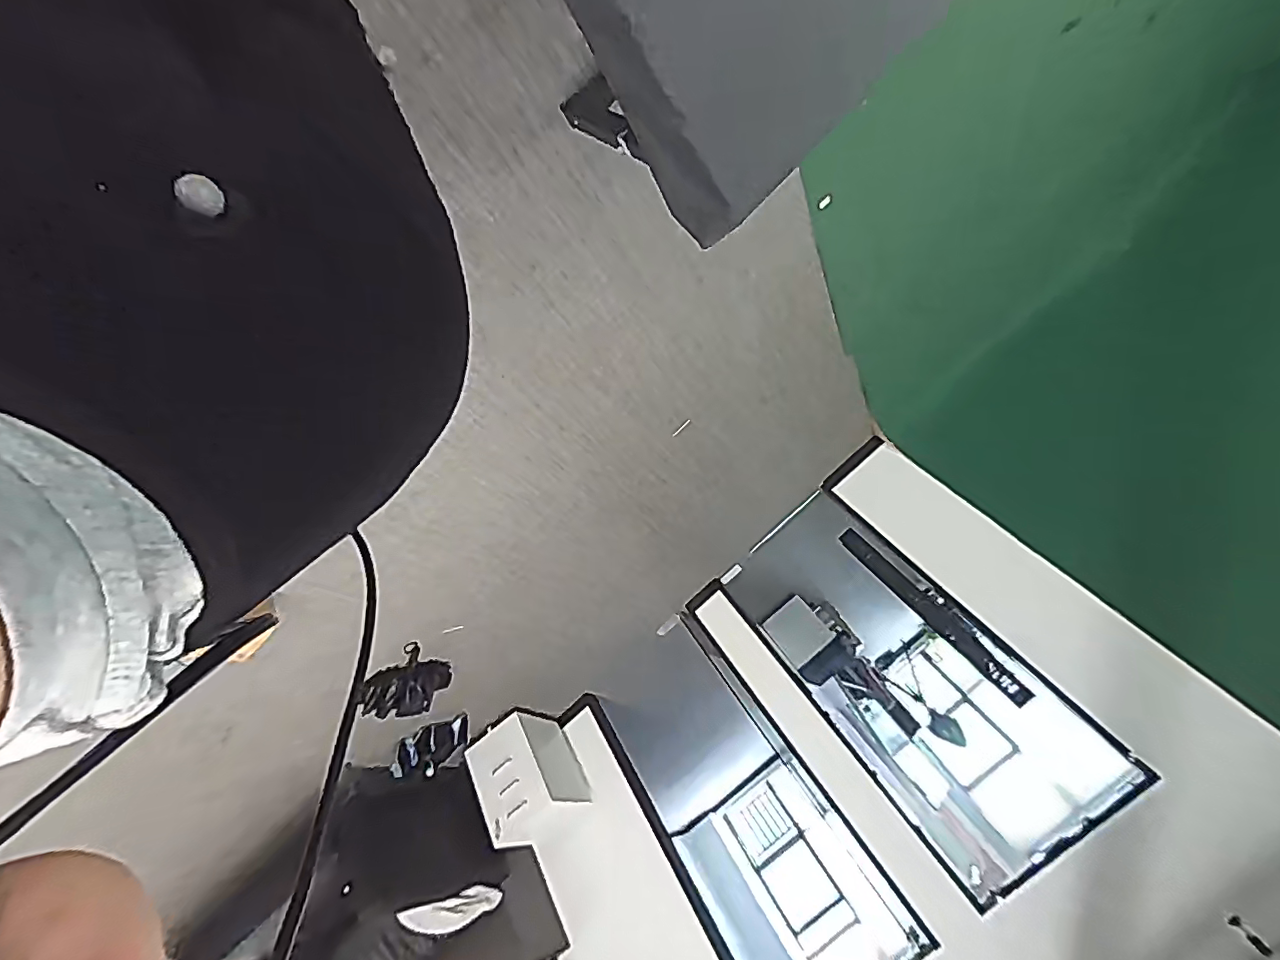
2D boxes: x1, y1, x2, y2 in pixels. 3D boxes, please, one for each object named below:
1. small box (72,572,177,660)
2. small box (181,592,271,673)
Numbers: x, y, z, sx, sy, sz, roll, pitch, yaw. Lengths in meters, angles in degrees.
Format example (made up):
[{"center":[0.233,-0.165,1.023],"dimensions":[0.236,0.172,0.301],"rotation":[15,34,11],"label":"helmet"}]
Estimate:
[{"center":[-1.445,0.382,1.523],"dimensions":[0.179,0.176,0.168],"rotation":[-48,141,13],"label":"small box"},{"center":[-1.329,0.486,1.727],"dimensions":[0.179,0.176,0.168],"rotation":[-45,143,5],"label":"small box"}]
